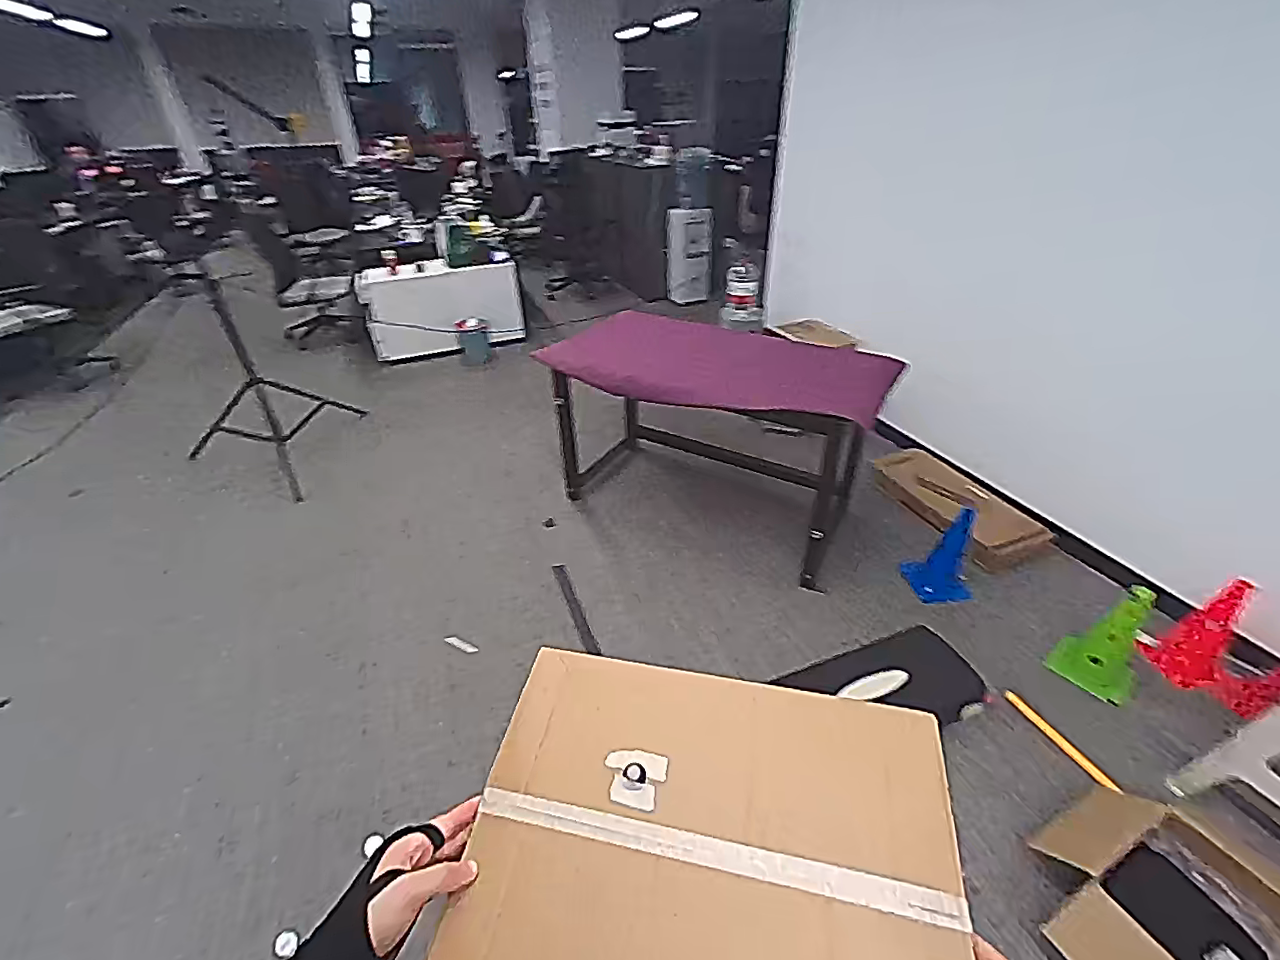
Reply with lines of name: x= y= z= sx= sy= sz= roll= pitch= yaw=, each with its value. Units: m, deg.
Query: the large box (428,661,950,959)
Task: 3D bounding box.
large box: x=0.062 y=0.426 z=0.568 sx=0.408 sy=0.320 sz=0.320 roll=3 pitch=44 yaw=13
